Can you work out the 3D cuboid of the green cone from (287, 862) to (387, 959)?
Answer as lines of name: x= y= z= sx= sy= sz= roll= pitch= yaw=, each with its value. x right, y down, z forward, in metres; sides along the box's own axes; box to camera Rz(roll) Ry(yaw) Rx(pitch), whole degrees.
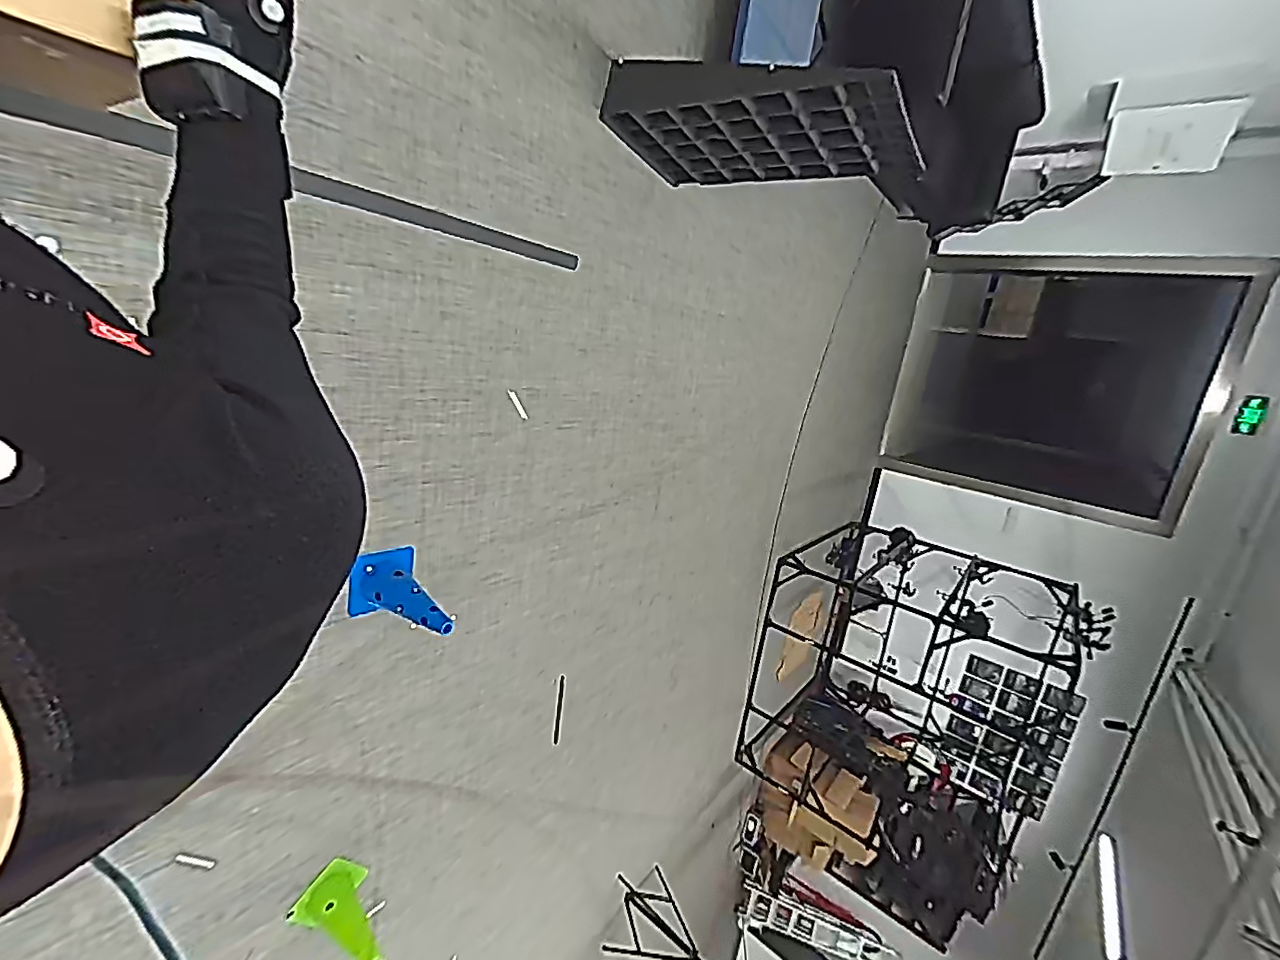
green cone: x=-0.915 y=1.453 z=1.731 sx=0.202 sy=0.368 sz=0.200 roll=-51 pitch=141 yaw=-30

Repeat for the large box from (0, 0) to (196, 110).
large box: x=-0.539 y=-0.449 z=0.278 sx=0.408 sy=0.320 sz=0.320 roll=-13 pitch=118 yaw=-52

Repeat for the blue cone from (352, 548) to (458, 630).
blue cone: x=-0.673 y=0.355 z=1.598 sx=0.192 sy=0.380 sz=0.193 roll=-5 pitch=109 yaw=-54
